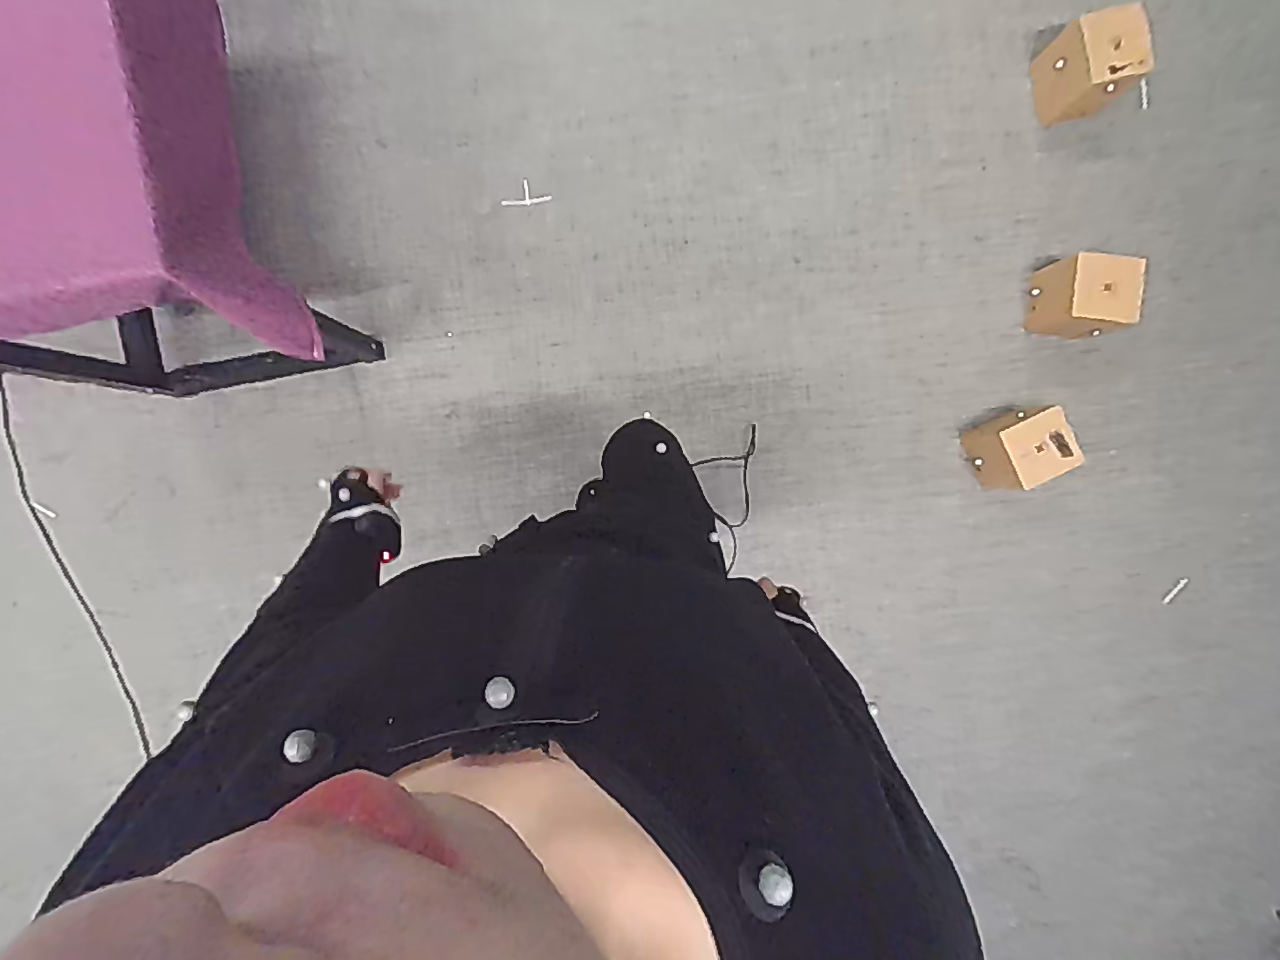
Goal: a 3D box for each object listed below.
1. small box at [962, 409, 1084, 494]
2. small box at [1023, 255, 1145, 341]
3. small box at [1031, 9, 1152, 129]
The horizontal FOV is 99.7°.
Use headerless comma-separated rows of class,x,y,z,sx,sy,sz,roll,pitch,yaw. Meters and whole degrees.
small box,1.012,-0.075,1.442,0.179,0.176,0.168,-25,91,0
small box,1.174,-0.477,1.439,0.179,0.176,0.168,6,90,-1
small box,1.179,-1.076,1.428,0.168,0.176,0.179,-14,90,-1
